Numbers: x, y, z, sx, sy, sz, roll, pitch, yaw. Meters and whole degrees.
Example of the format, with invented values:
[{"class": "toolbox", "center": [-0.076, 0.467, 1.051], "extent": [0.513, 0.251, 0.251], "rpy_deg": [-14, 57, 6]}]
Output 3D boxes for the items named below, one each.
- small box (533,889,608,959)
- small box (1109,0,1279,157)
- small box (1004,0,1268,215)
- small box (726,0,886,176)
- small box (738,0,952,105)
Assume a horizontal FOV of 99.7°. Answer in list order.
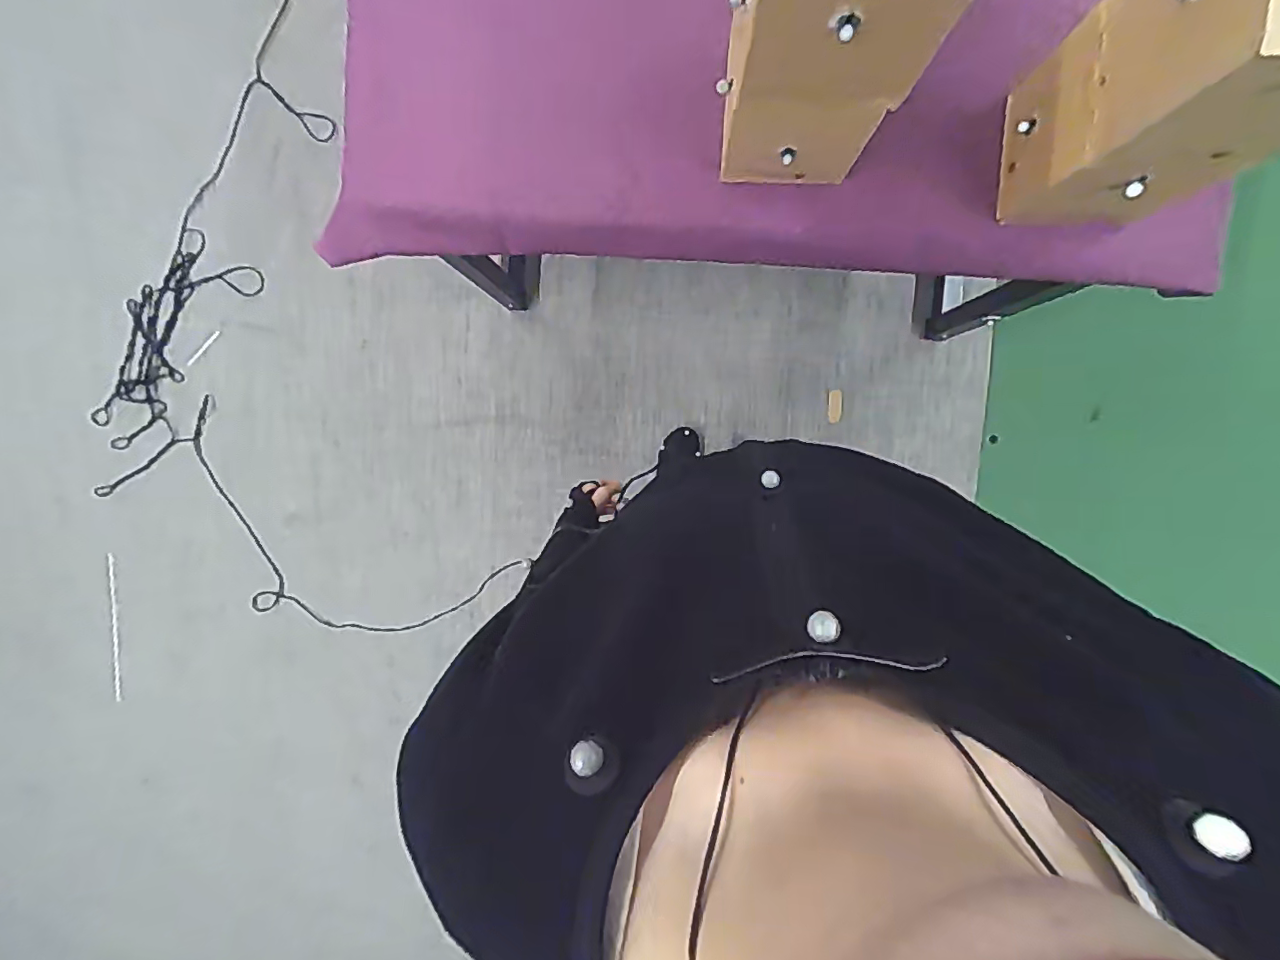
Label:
[{"class": "small box", "center": [-0.187, 1.293, 1.521], "extent": [0.179, 0.176, 0.168], "rpy_deg": [-5, 93, 5]}, {"class": "small box", "center": [0.556, -0.412, 0.465], "extent": [0.168, 0.176, 0.179], "rpy_deg": [3, 95, 7]}, {"class": "small box", "center": [0.568, -0.425, 0.628], "extent": [0.179, 0.176, 0.168], "rpy_deg": [3, 96, 6]}, {"class": "small box", "center": [0.196, -0.495, 0.655], "extent": [0.168, 0.176, 0.179], "rpy_deg": [4, 94, 4]}, {"class": "small box", "center": [0.186, -0.476, 0.493], "extent": [0.179, 0.176, 0.168], "rpy_deg": [4, 95, 4]}]
